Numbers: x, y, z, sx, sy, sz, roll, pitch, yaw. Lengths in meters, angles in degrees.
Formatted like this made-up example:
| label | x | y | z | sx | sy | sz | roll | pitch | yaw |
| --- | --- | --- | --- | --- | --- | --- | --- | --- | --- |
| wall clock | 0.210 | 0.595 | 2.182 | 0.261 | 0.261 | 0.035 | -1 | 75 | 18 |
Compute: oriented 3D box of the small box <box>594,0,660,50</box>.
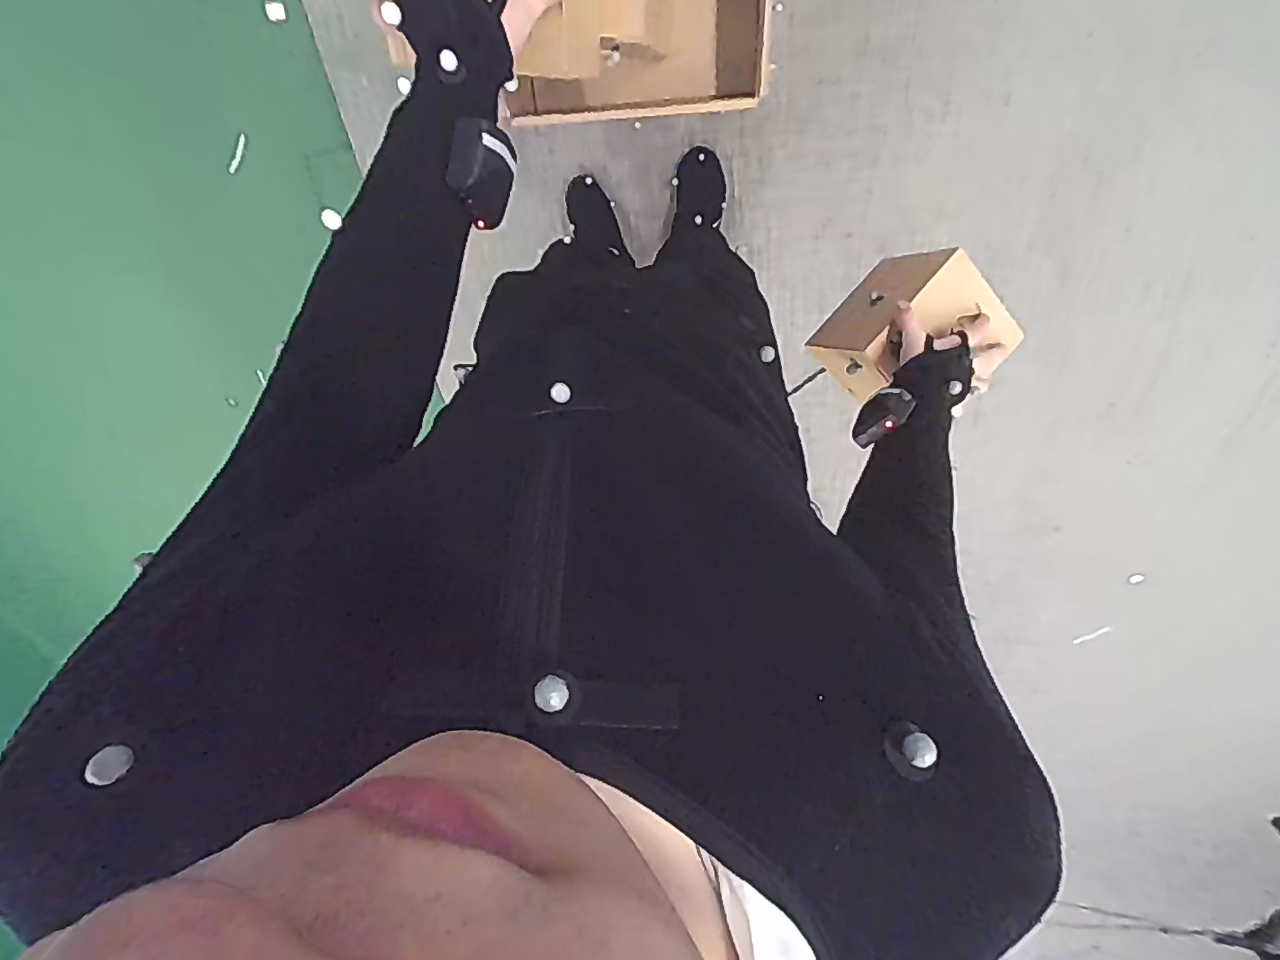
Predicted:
| label | x | y | z | sx | sy | sz | roll | pitch | yaw |
| --- | --- | --- | --- | --- | --- | --- | --- | --- | --- |
| small box | -0.063 | -0.609 | 0.616 | 0.168 | 0.176 | 0.179 | 7 | 126 | 5 |

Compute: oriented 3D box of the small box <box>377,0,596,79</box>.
| label | x | y | z | sx | sy | sz | roll | pitch | yaw |
| --- | --- | --- | --- | --- | --- | --- | --- | --- | --- |
| small box | -0.135 | -0.489 | 0.503 | 0.168 | 0.176 | 0.179 | 7 | 128 | 3 |
